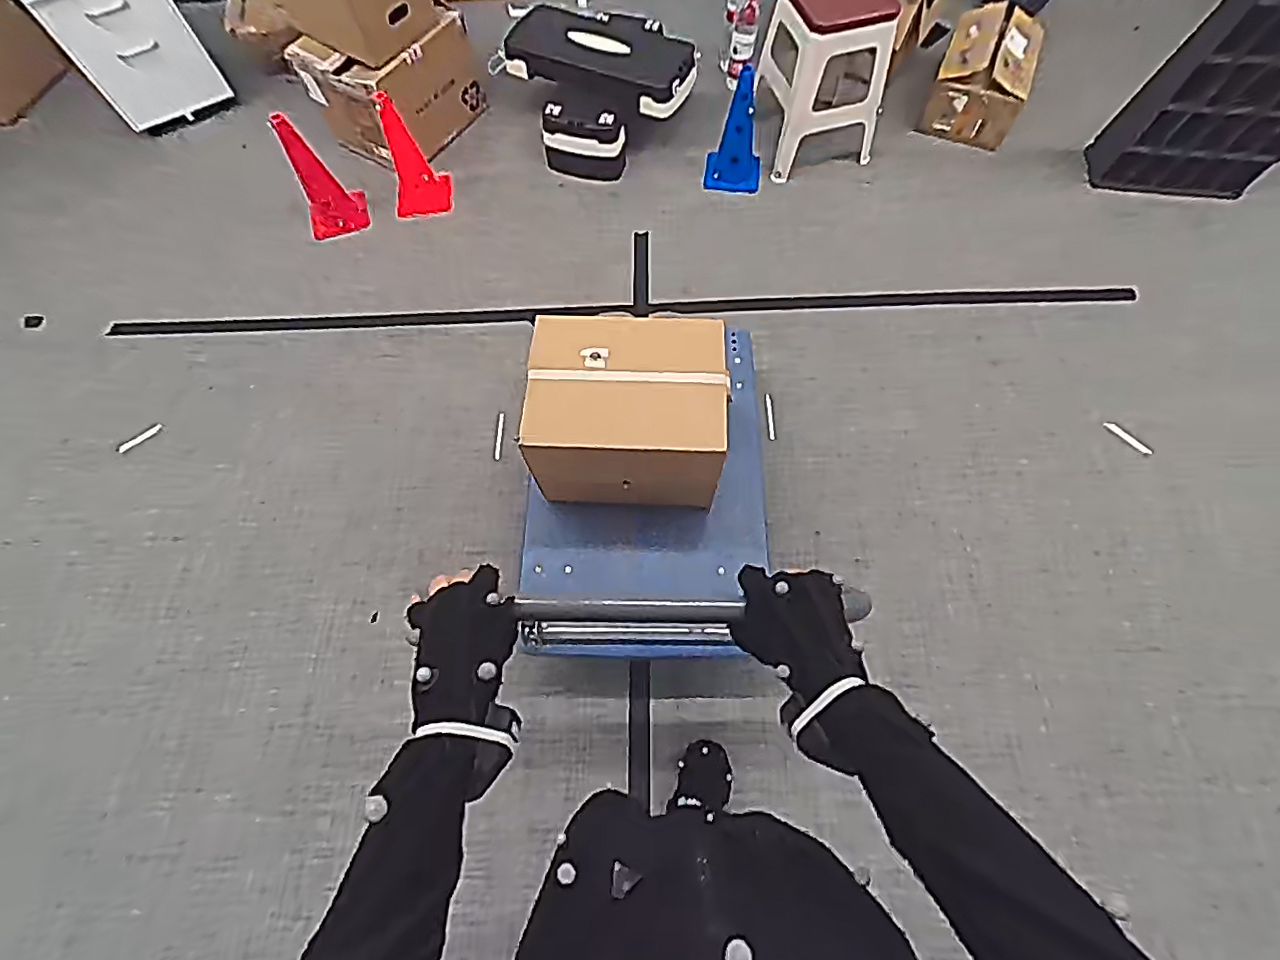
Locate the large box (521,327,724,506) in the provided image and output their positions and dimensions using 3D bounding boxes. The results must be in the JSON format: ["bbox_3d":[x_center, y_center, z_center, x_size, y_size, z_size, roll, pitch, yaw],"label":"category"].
[{"bbox_3d":[-0.025,-0.131,1.244,0.408,0.320,0.320,1,67,3],"label":"large box"}]
